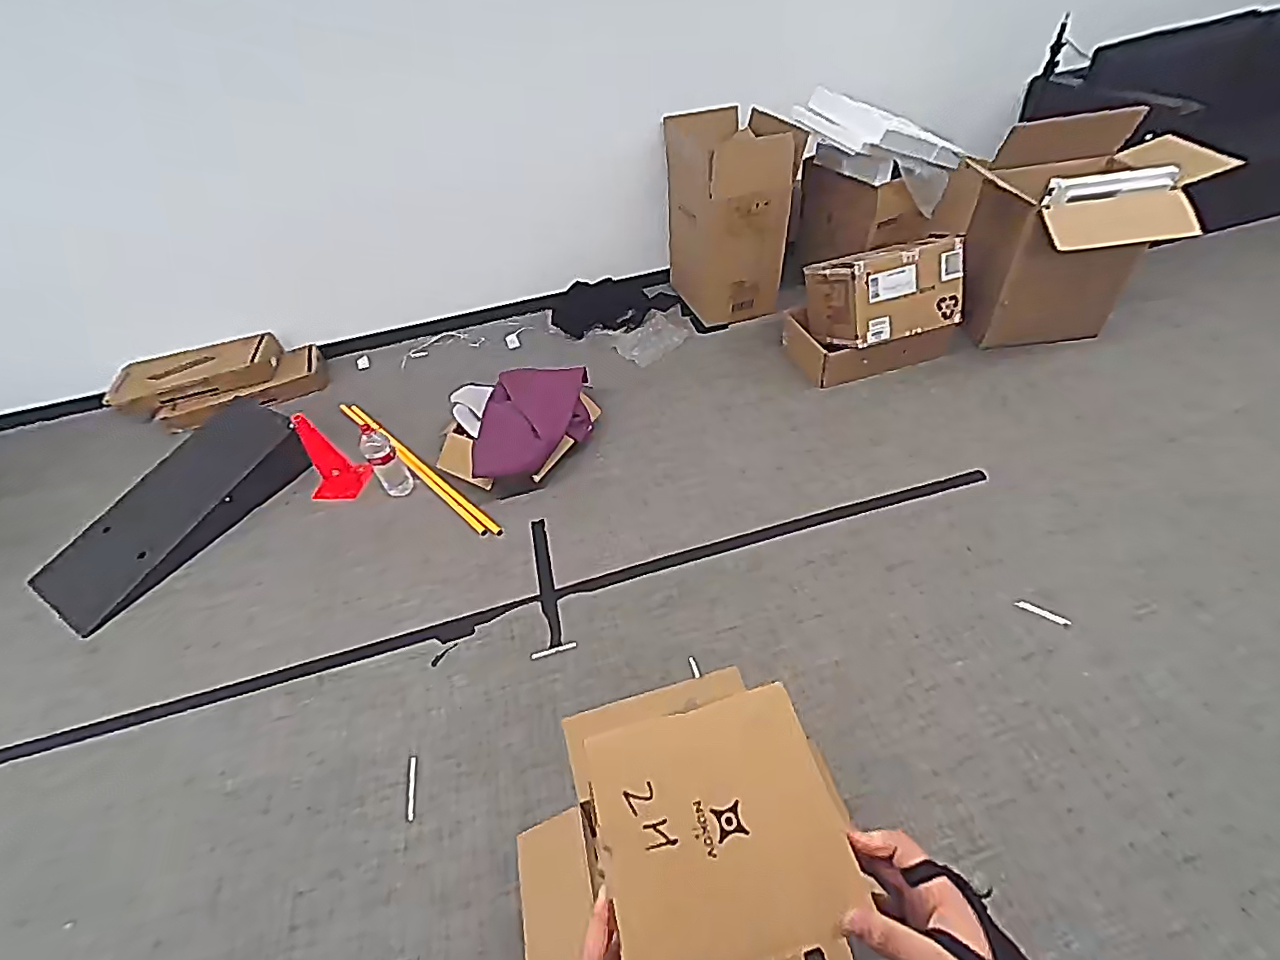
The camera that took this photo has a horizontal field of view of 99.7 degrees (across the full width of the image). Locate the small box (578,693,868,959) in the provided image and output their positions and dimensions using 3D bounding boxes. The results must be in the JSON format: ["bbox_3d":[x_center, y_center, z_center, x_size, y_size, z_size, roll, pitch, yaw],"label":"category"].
[{"bbox_3d":[0.055,0.306,0.464,0.179,0.176,0.168,-14,54,-7],"label":"small box"}]
